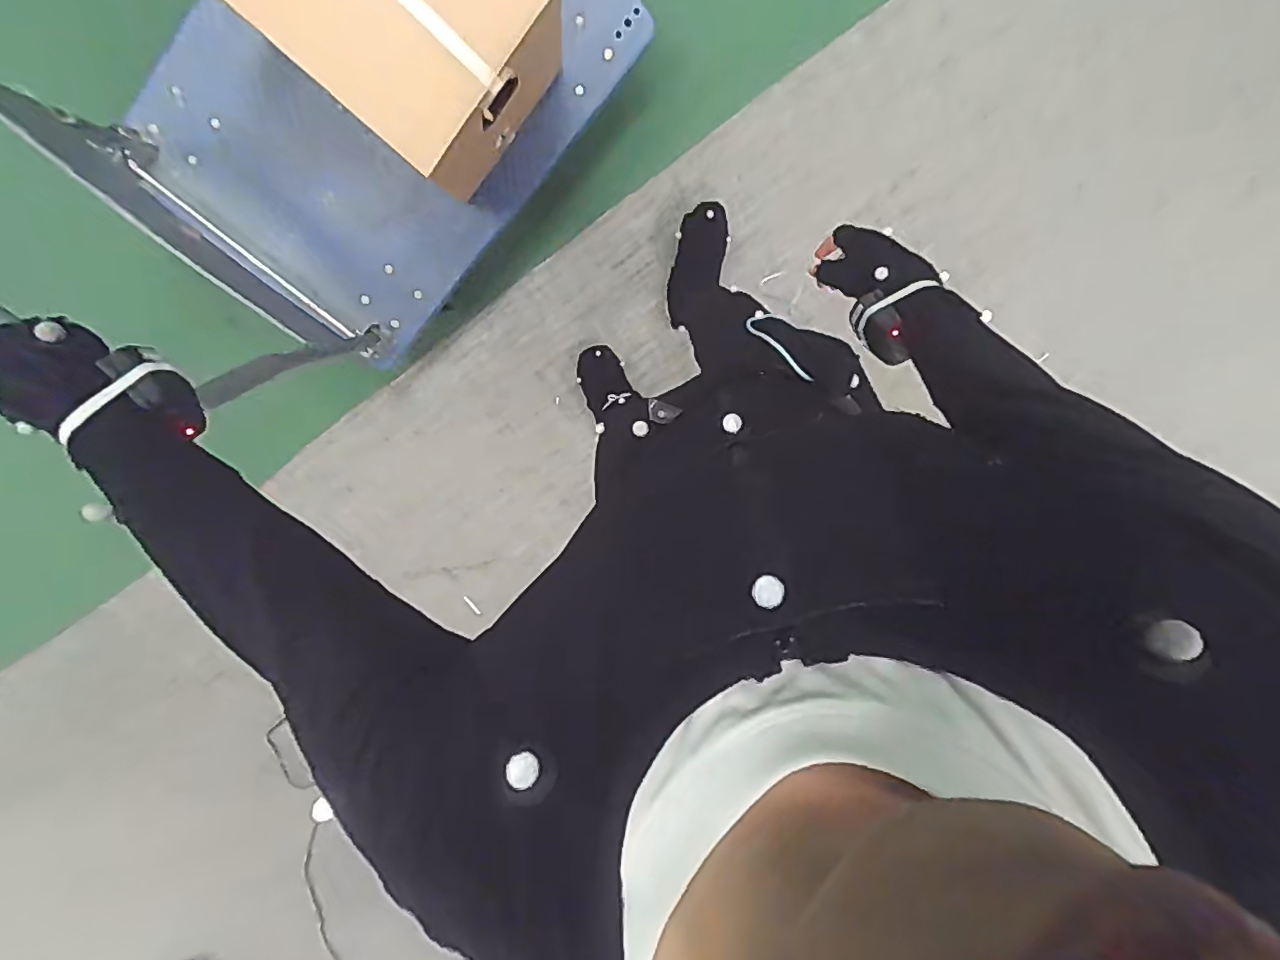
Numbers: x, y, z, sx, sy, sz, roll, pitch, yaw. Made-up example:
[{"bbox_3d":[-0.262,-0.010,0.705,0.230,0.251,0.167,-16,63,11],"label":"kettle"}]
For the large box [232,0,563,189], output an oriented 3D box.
[{"bbox_3d":[-0.370,-0.730,0.825,0.408,0.320,0.320,38,102,-18],"label":"large box"}]
